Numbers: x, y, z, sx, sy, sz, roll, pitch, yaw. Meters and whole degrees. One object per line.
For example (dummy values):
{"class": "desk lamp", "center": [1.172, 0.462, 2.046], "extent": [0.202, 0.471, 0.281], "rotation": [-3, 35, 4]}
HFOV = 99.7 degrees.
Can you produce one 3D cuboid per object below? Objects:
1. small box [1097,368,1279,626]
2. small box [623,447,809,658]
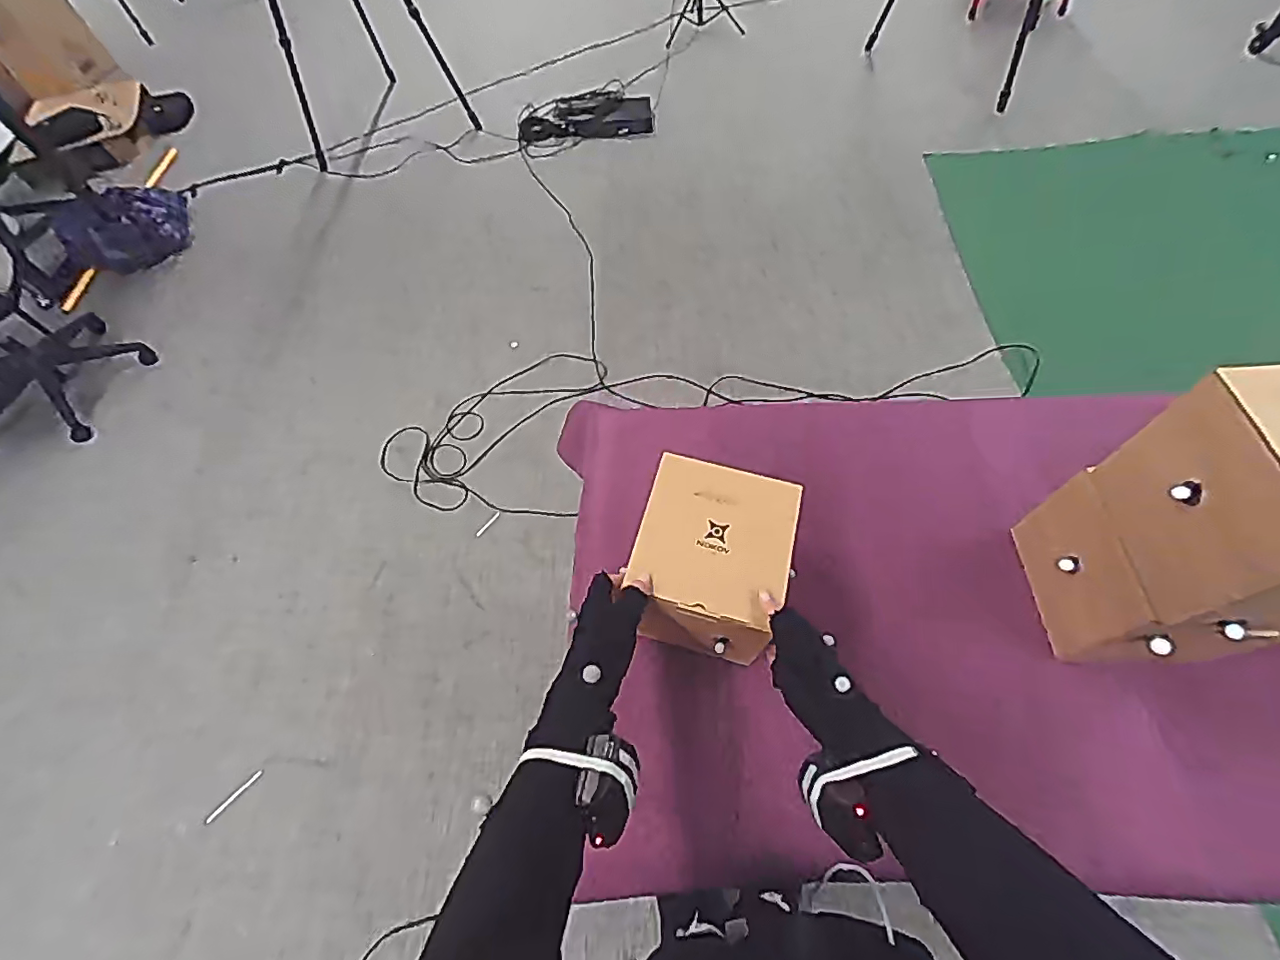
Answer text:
{"class": "small box", "center": [0.559, 0.022, 0.466], "extent": [0.168, 0.176, 0.179], "rotation": [-2, 58, 4]}
{"class": "small box", "center": [0.084, 0.093, 0.634], "extent": [0.168, 0.176, 0.179], "rotation": [14, 61, 6]}
